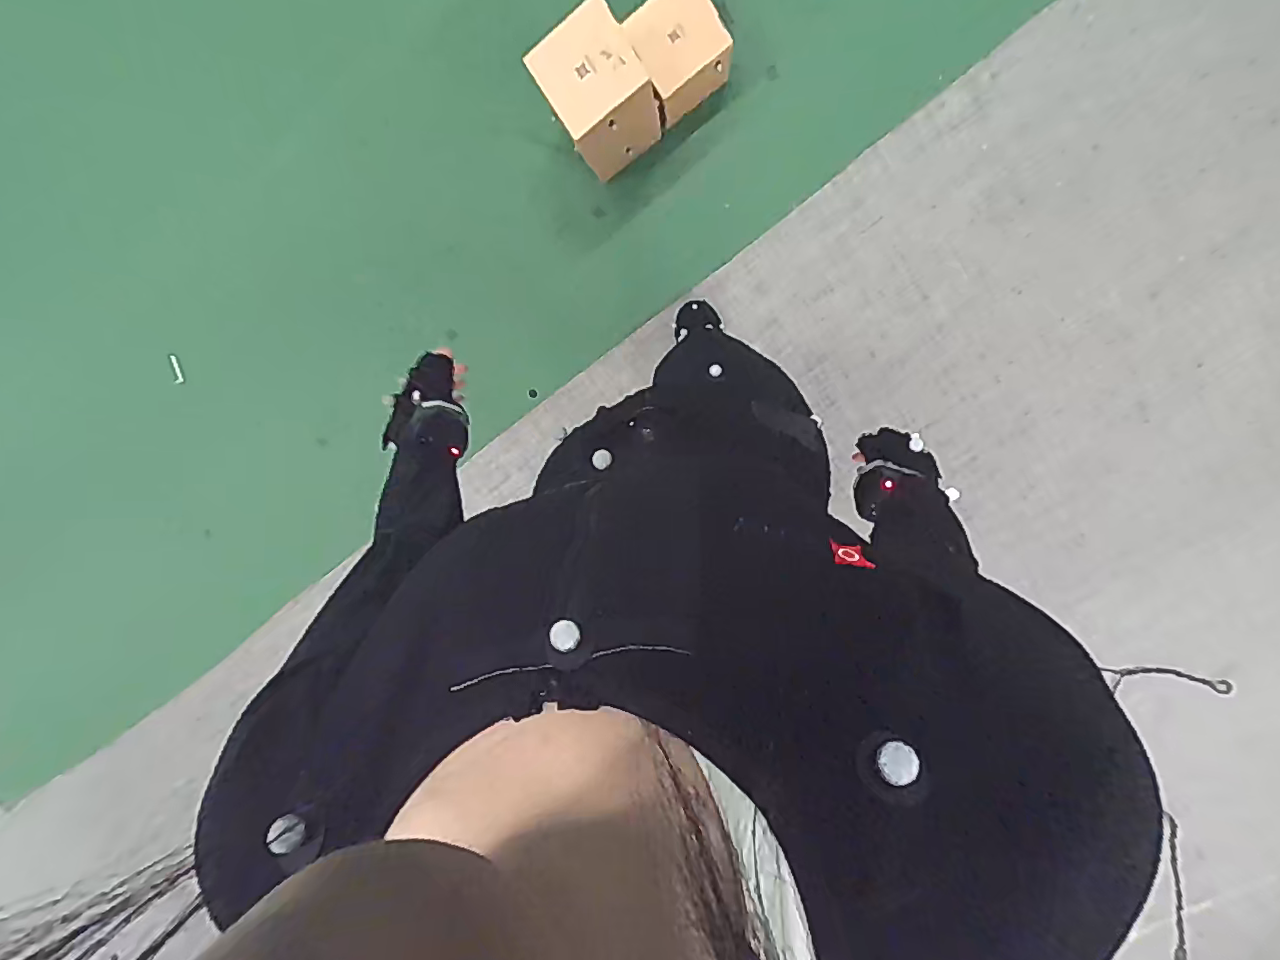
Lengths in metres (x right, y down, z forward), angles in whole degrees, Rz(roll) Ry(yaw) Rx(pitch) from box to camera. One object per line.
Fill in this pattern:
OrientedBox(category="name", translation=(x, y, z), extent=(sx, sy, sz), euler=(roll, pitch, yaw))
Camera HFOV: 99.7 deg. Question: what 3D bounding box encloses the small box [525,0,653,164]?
OrientedBox(category="small box", translation=(-0.088, -0.757, 1.050), extent=(0.179, 0.176, 0.168), euler=(-33, 101, 12))
